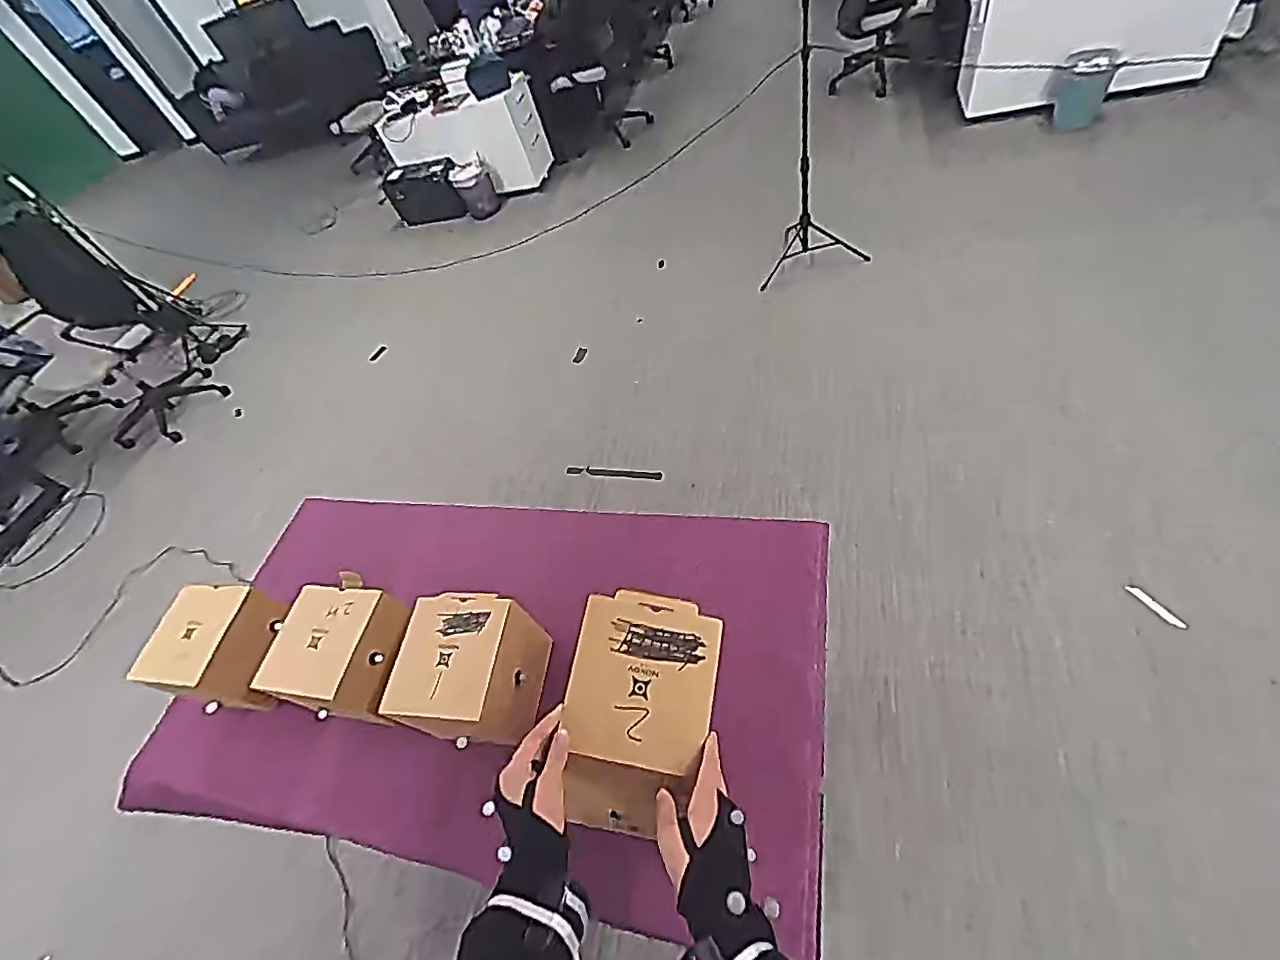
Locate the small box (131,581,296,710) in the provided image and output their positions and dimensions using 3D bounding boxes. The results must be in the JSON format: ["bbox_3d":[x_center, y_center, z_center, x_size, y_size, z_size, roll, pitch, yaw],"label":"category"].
[{"bbox_3d":[-0.752,0.306,1.001,0.168,0.176,0.179,-1,53,17],"label":"small box"}]

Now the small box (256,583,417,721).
[{"bbox_3d":[-0.488,0.297,0.926,0.168,0.176,0.179,1,54,17],"label":"small box"}]

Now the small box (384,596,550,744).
[{"bbox_3d":[-0.257,0.299,0.854,0.168,0.176,0.179,-3,54,16],"label":"small box"}]
